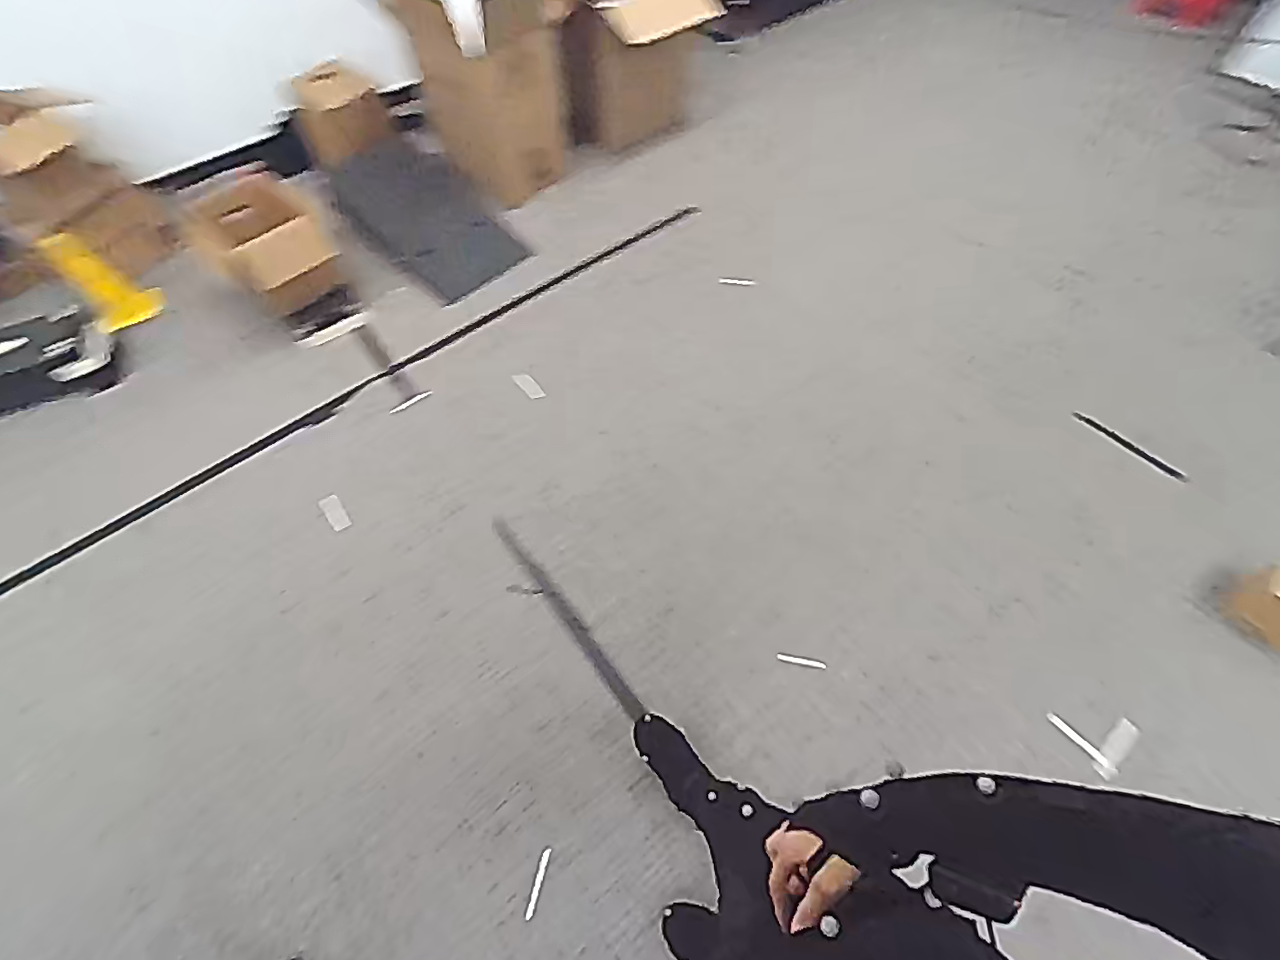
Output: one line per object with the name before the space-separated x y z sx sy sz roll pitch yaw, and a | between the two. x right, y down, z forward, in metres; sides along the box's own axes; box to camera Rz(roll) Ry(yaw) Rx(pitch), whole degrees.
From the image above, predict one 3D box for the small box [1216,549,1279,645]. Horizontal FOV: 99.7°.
small box | 1.758 0.323 1.481 0.179 0.176 0.168 -38 66 -20
